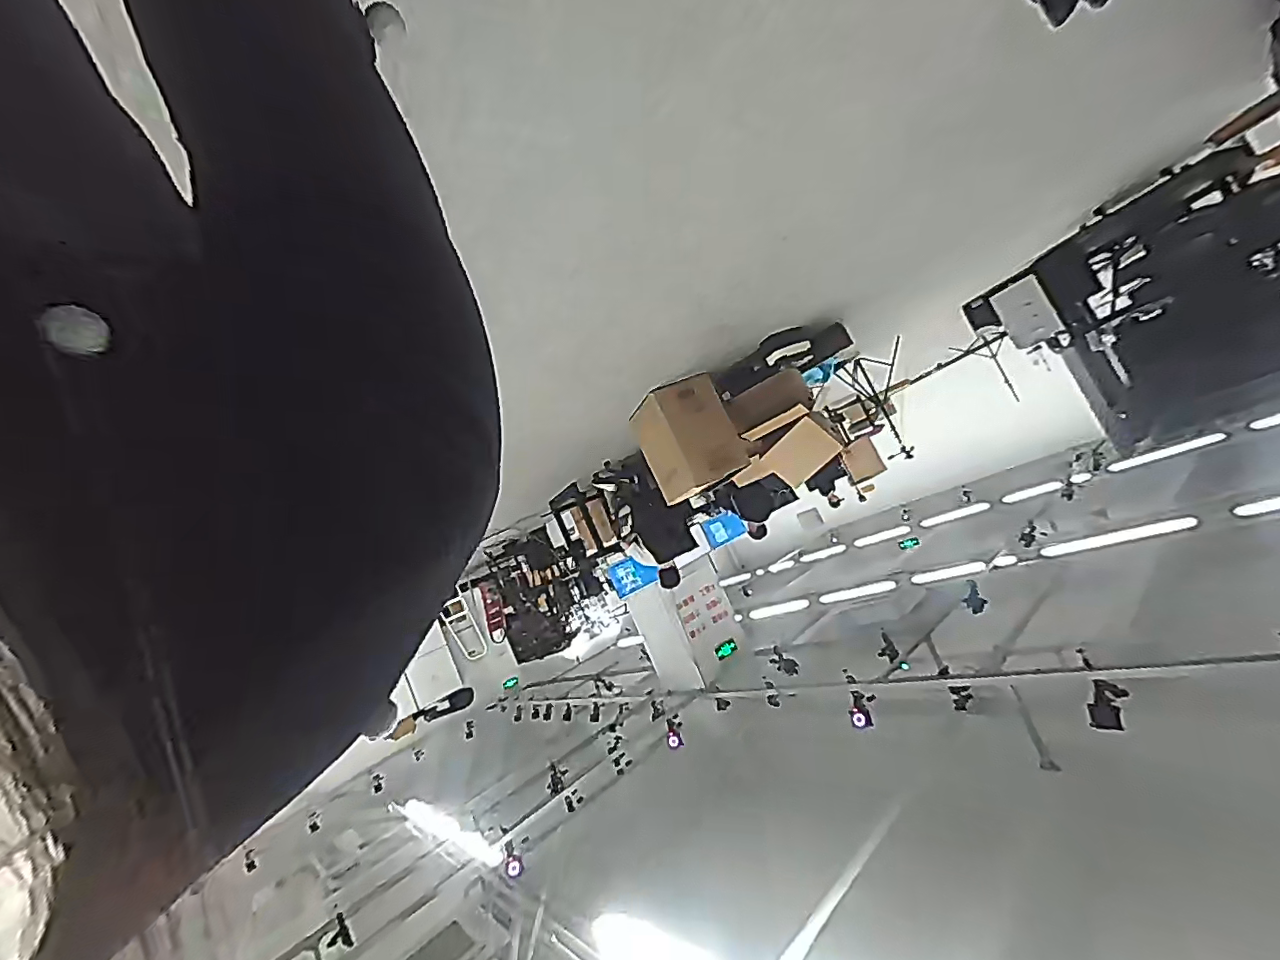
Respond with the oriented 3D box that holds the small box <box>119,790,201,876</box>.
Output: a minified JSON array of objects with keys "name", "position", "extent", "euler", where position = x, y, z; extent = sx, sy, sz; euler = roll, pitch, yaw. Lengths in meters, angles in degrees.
[{"name":"small box","position":[-1.630,1.188,1.837],"extent":[0.179,0.176,0.168],"euler":[-19,172,-38]}]

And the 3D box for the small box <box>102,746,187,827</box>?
[{"name":"small box","position":[-1.696,1.040,1.850],"extent":[0.179,0.176,0.168],"euler":[-19,171,-35]}]
